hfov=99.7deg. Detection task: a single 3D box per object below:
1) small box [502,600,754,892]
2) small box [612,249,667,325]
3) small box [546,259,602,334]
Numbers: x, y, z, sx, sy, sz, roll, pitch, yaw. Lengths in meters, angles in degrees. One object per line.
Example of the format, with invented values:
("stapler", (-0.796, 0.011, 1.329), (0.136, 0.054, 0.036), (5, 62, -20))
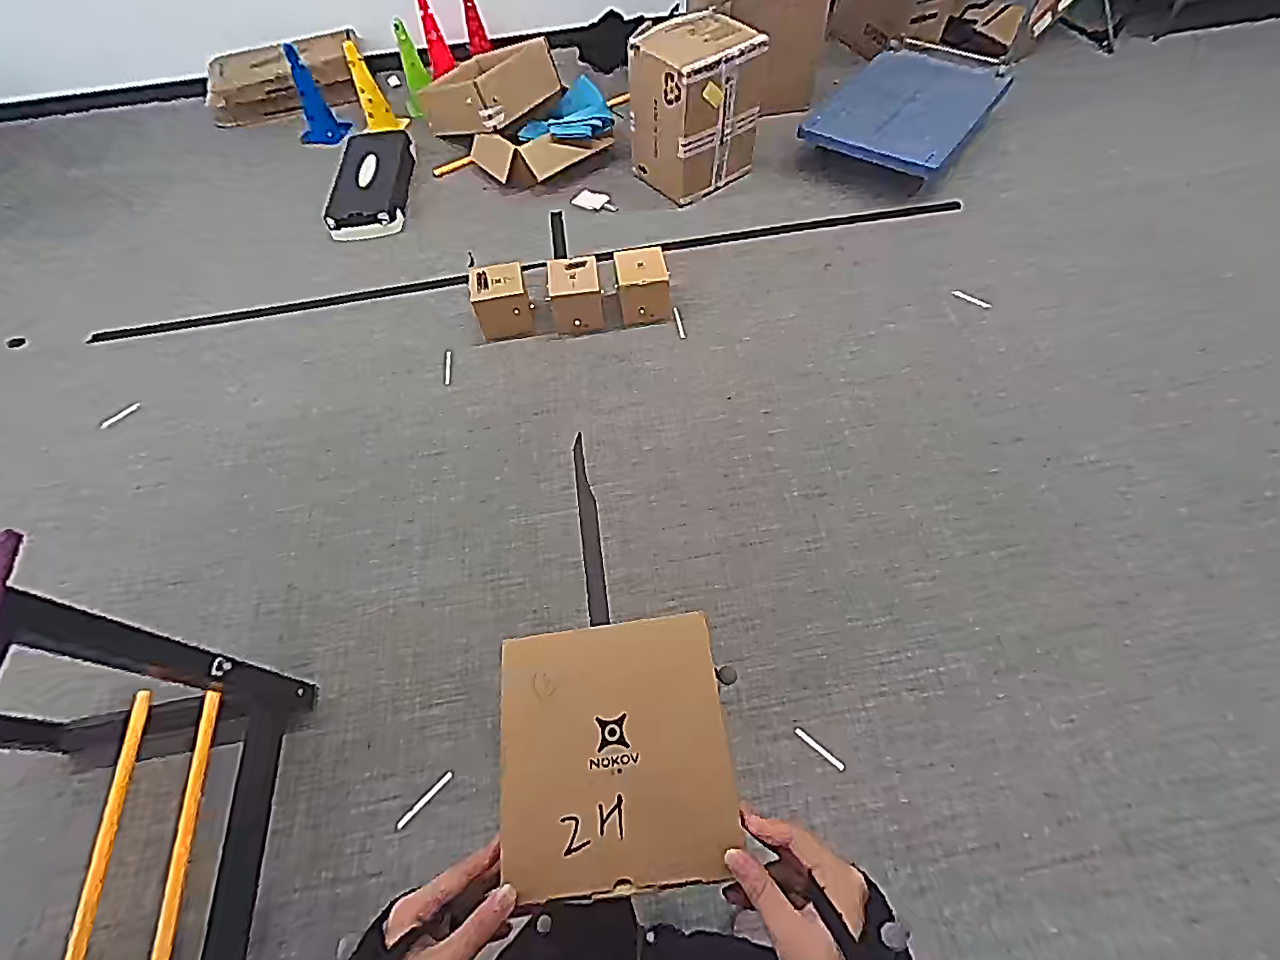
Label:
("small box", (-0.007, 0.218, 0.454), (0.168, 0.176, 0.179), (-9, 61, 4))
("small box", (-0.002, -0.664, 1.865), (0.168, 0.176, 0.179), (-9, 59, -3))
("small box", (-0.224, -0.625, 1.849), (0.168, 0.176, 0.179), (-7, 60, -2))
